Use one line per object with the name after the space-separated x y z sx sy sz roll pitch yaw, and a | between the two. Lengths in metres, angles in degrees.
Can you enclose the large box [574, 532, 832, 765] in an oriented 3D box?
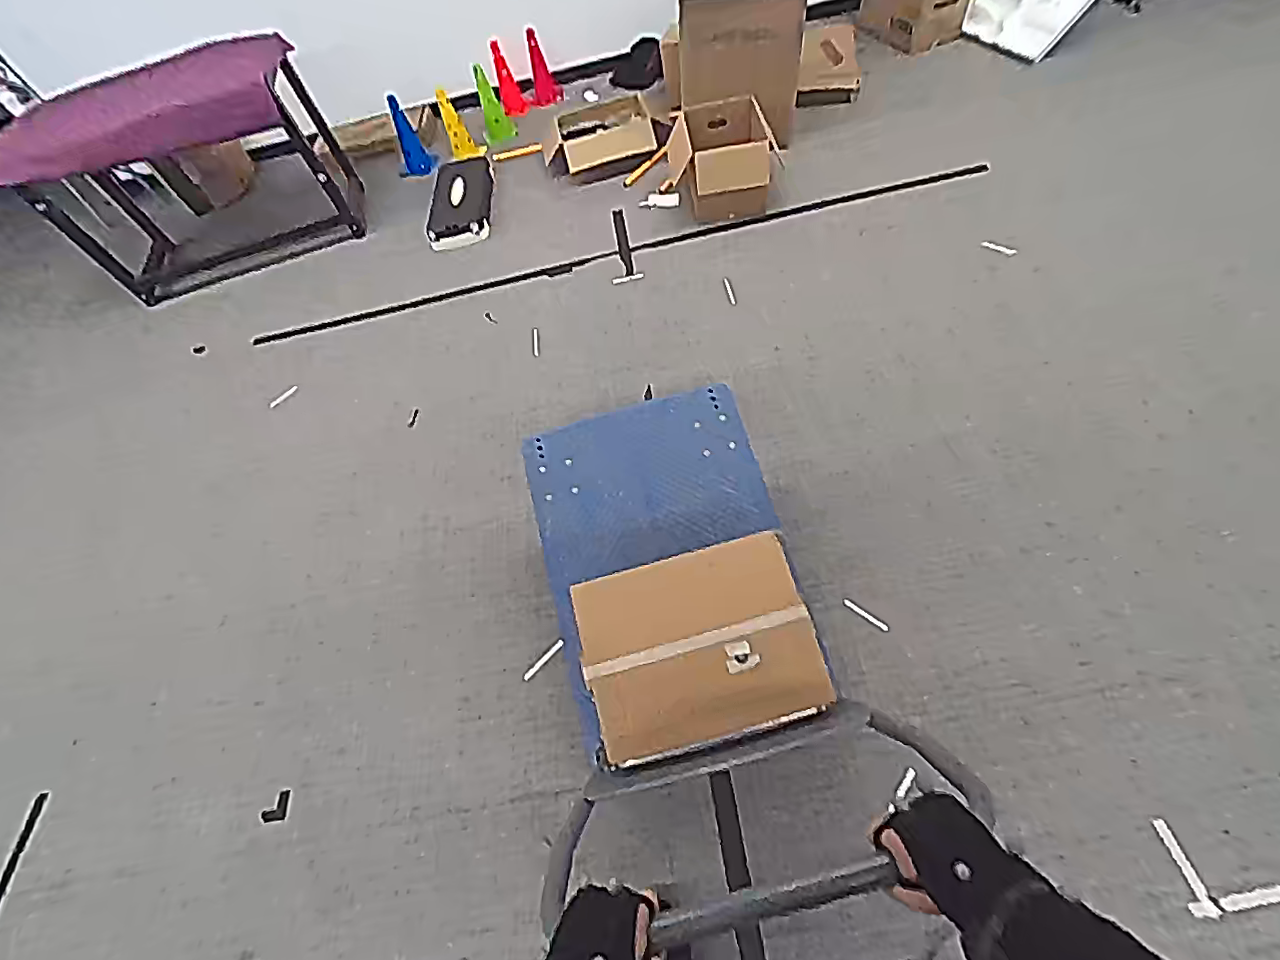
0.114 0.342 1.119 0.408 0.320 0.320 -17 72 -2 | large box
